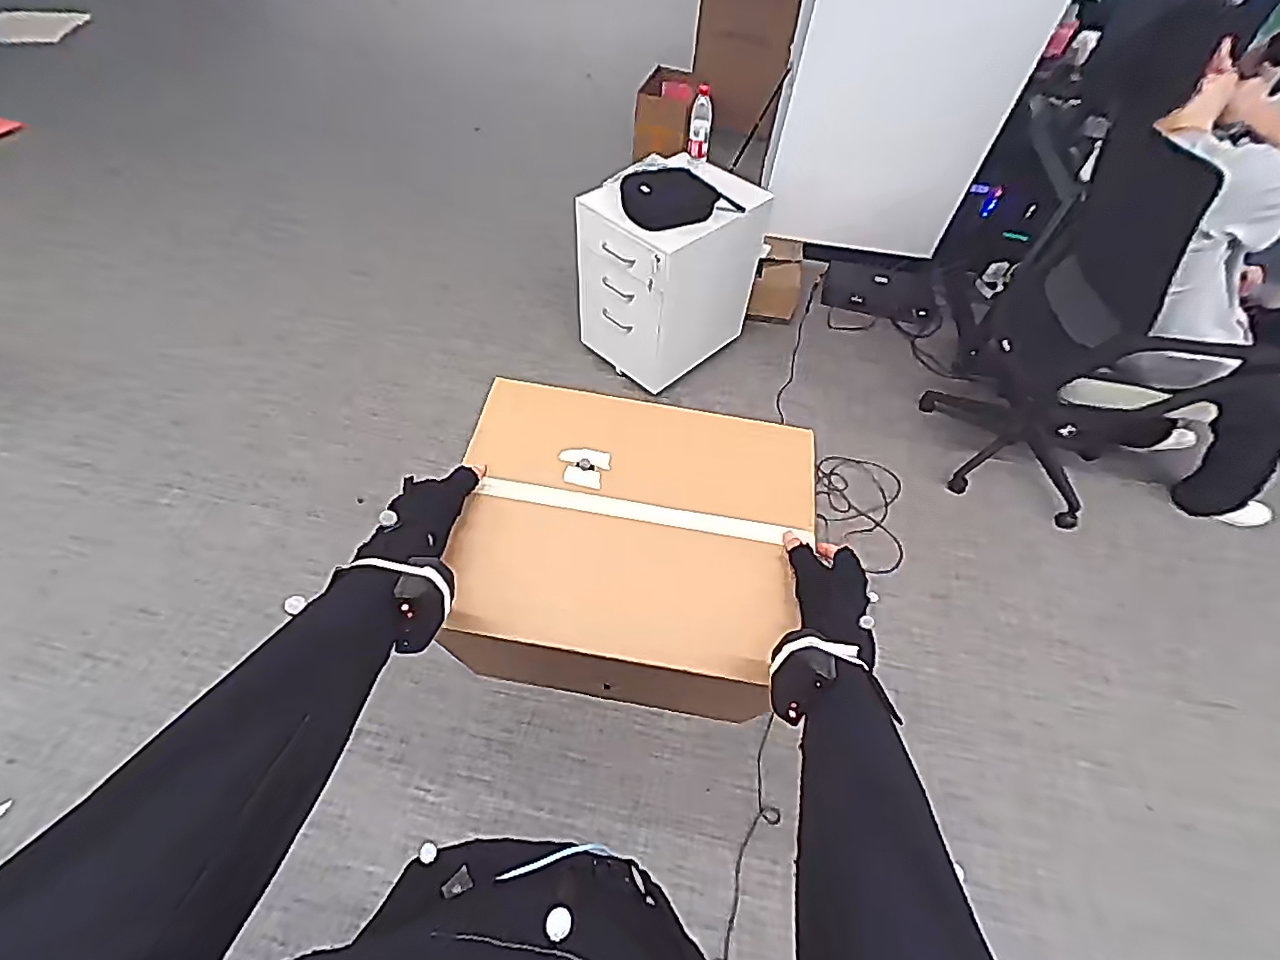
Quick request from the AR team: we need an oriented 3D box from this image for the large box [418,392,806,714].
[{"bbox_3d":[-0.016,0.118,0.744,0.408,0.320,0.320,10,60,2],"label":"large box"}]
